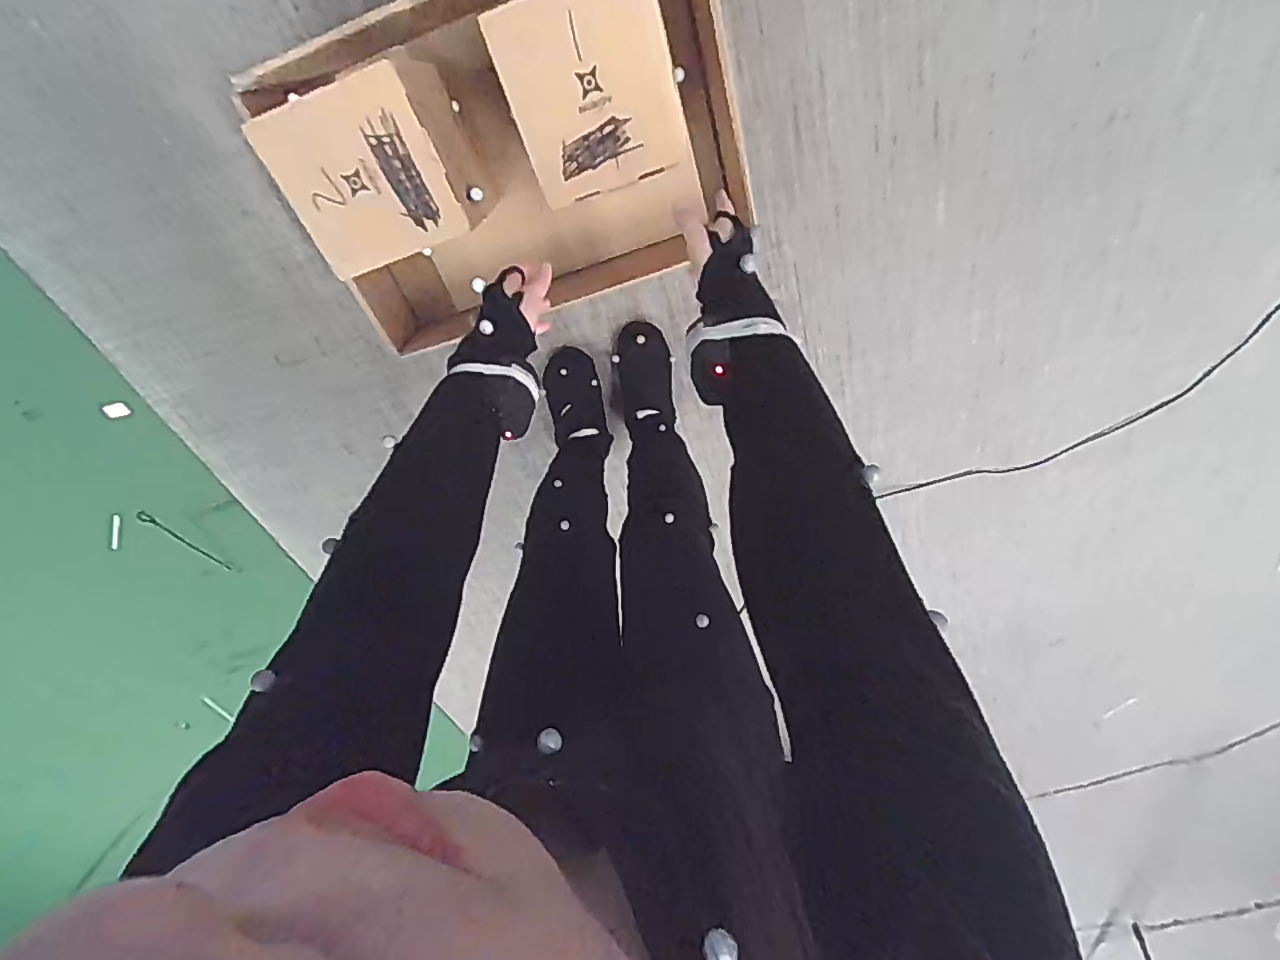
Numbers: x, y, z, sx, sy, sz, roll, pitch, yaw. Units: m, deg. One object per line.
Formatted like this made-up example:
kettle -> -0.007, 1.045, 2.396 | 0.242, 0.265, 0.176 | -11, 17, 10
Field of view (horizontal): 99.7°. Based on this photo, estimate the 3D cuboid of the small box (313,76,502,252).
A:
small box -> -0.315, -0.457, 0.780 | 0.168, 0.176, 0.179 | -13, 125, 6

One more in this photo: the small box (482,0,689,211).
small box -> -0.049, -0.432, 0.605 | 0.168, 0.176, 0.179 | -15, 125, 9
